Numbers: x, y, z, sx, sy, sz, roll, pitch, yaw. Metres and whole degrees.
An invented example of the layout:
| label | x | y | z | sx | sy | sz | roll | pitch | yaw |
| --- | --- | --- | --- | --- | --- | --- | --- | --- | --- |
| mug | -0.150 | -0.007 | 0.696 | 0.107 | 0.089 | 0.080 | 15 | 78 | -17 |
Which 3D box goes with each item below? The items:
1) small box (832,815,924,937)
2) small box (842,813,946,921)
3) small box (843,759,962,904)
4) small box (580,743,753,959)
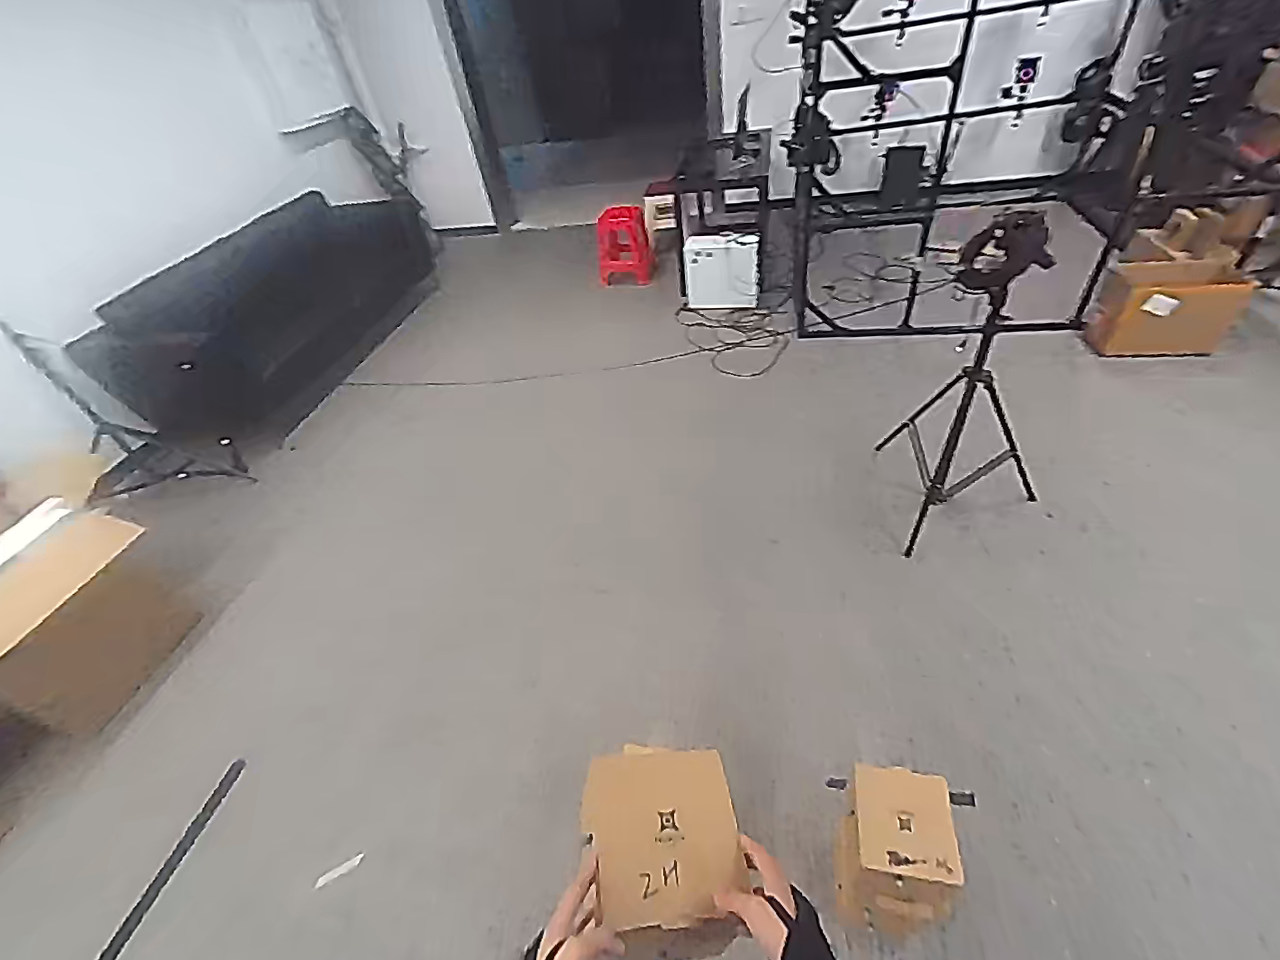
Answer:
| label | x | y | z | sx | sy | sz | roll | pitch | yaw |
| --- | --- | --- | --- | --- | --- | --- | --- | --- | --- |
| small box | 0.537 | 0.912 | 1.246 | 0.168 | 0.176 | 0.179 | 3 | 44 | 15 |
| small box | 0.522 | 0.791 | 1.136 | 0.168 | 0.176 | 0.179 | 3 | 43 | 14 |
| small box | 0.487 | 0.669 | 1.030 | 0.168 | 0.176 | 0.179 | 3 | 43 | 14 |
| small box | 0.017 | 0.453 | 0.664 | 0.168 | 0.176 | 0.179 | 2 | 38 | -11 |
